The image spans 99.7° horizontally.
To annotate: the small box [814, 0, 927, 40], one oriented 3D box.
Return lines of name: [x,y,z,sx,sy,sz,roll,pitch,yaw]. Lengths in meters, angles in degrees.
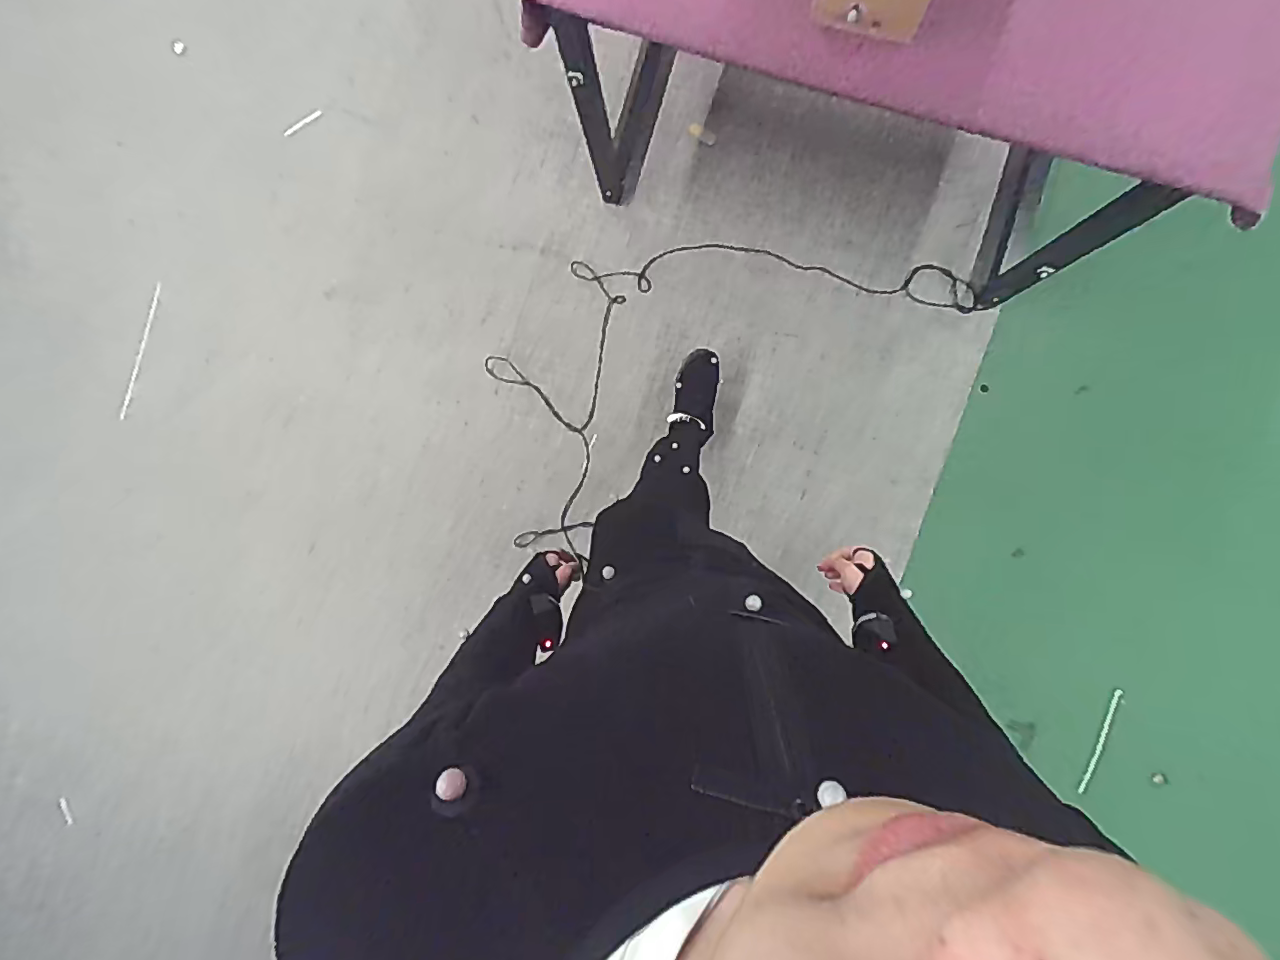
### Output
small box: [0.368,-0.803,0.782,0.168,0.176,0.179,19,92,6]
